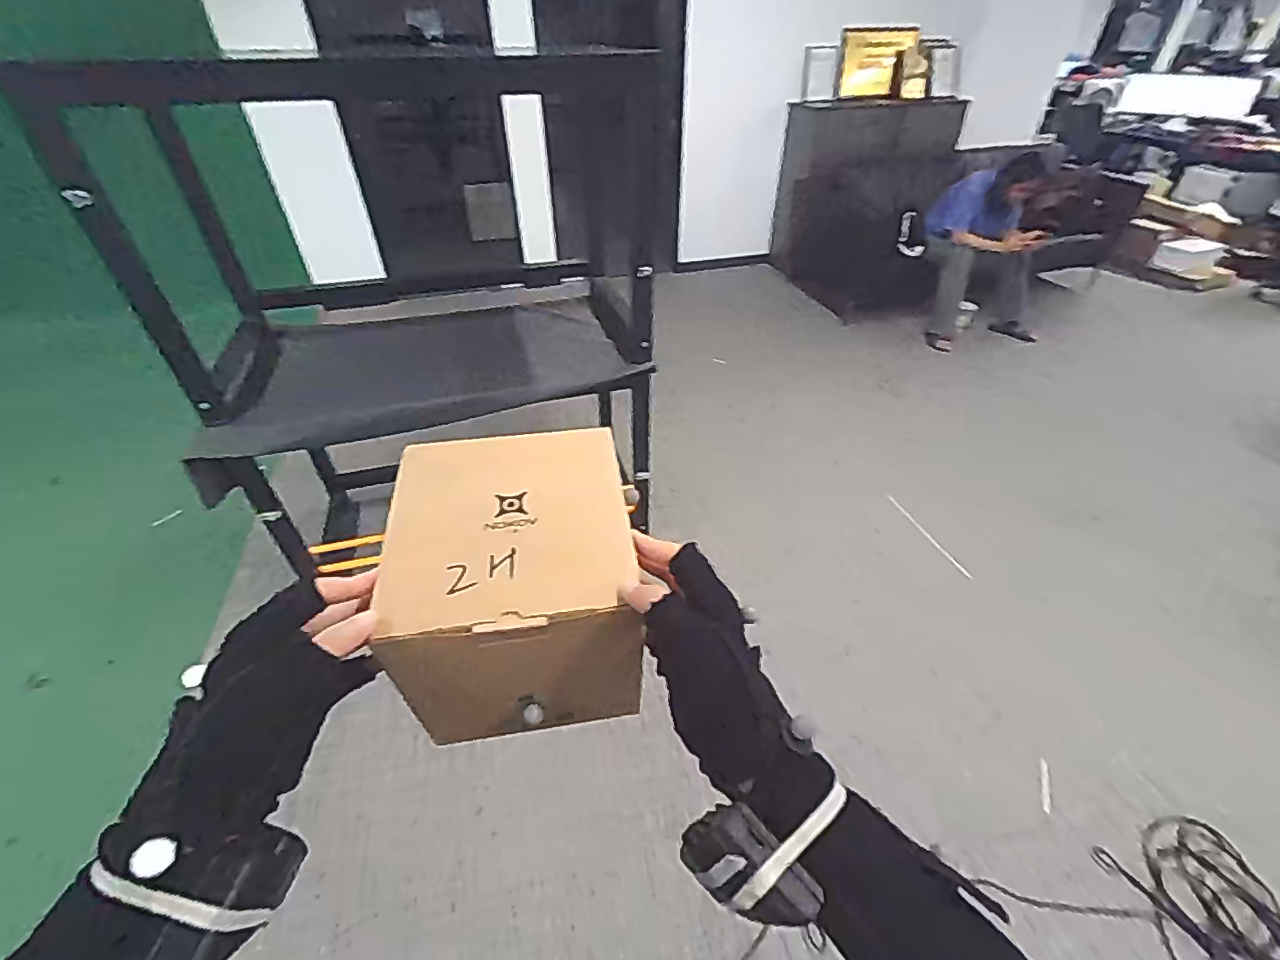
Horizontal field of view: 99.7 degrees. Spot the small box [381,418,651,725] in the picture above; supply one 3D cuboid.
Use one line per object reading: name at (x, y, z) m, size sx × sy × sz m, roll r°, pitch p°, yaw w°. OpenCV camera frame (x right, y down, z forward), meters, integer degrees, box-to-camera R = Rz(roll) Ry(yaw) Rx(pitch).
small box at (-0.088, 0.071, 0.443) m, size 0.168 × 0.176 × 0.179 m, roll -6°, pitch 44°, yaw -7°
